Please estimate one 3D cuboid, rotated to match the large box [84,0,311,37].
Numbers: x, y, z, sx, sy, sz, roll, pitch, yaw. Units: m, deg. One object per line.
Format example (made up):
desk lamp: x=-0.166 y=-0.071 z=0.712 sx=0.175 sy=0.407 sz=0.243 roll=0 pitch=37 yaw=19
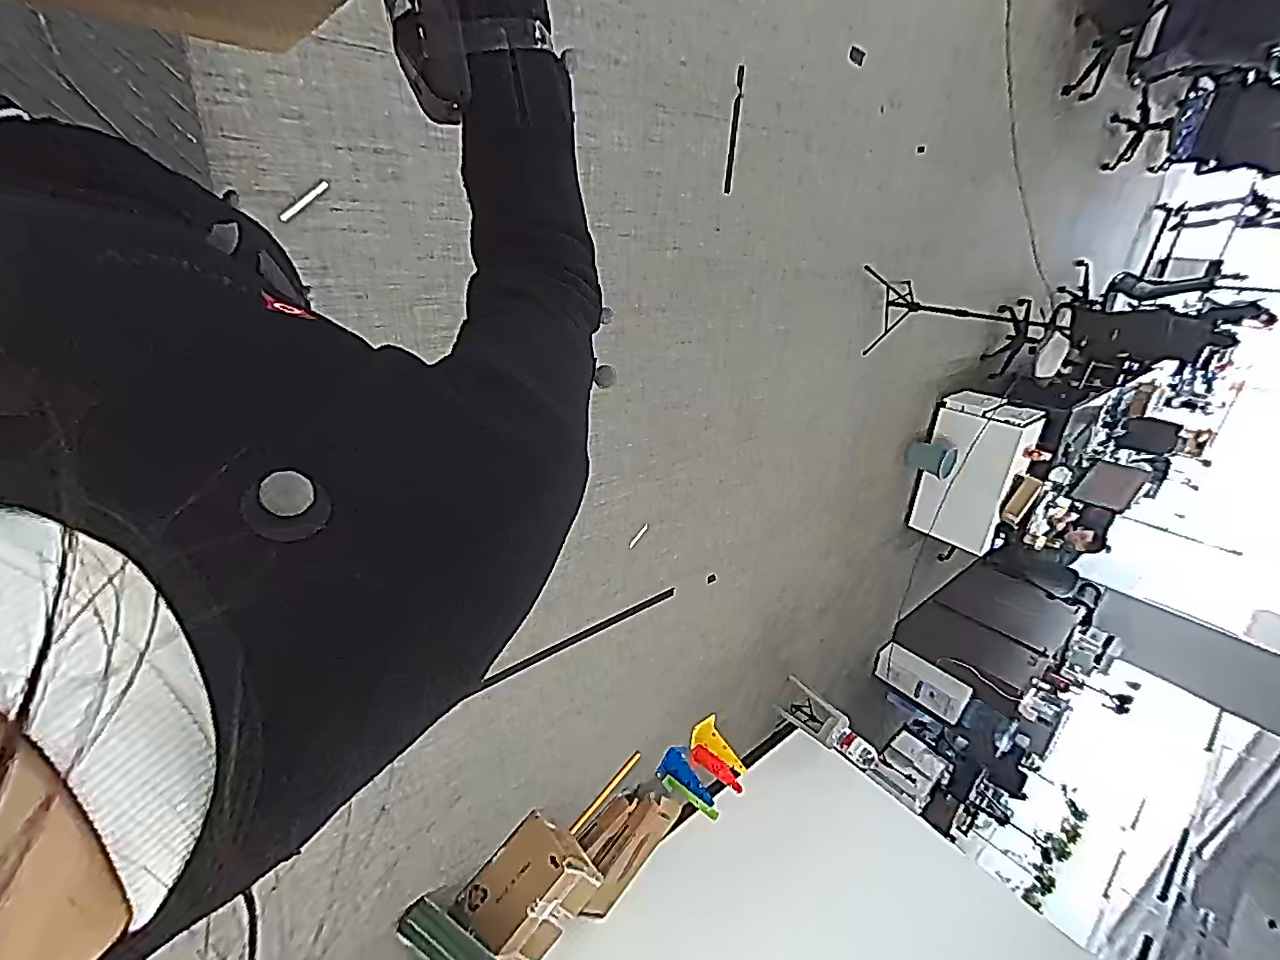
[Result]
large box: x=-0.370 y=-0.419 z=0.194 sx=0.408 sy=0.320 sz=0.320 roll=-17 pitch=125 yaw=-37
